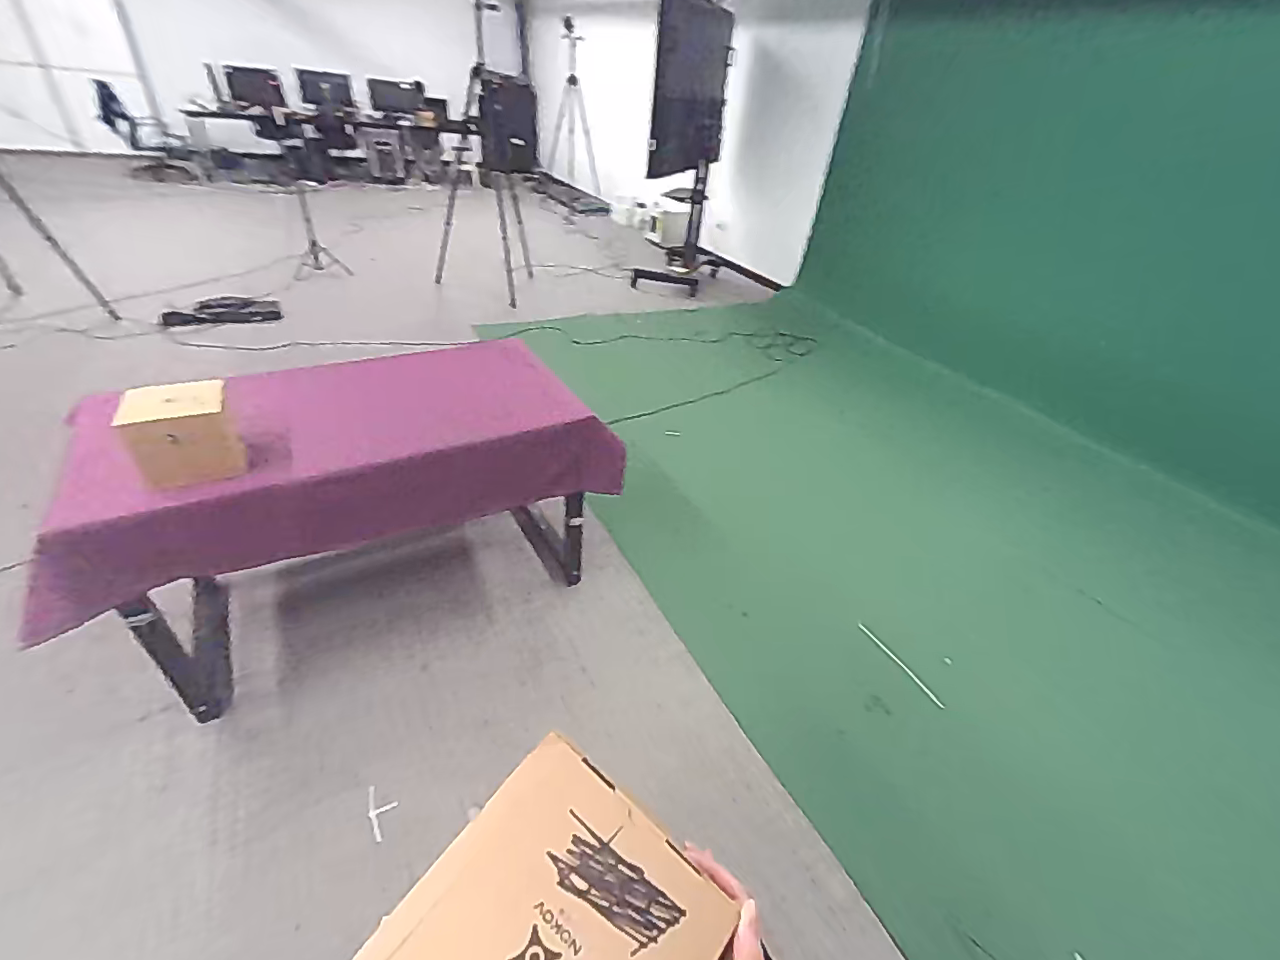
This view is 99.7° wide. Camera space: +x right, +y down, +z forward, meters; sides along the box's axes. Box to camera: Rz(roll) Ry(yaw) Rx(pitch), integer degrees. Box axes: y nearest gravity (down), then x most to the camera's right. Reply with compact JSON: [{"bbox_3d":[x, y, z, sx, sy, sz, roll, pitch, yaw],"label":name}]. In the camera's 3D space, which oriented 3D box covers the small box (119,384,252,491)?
[{"bbox_3d":[-1.003,-0.095,1.210,0.179,0.176,0.168,-13,40,-26],"label":"small box"}]
